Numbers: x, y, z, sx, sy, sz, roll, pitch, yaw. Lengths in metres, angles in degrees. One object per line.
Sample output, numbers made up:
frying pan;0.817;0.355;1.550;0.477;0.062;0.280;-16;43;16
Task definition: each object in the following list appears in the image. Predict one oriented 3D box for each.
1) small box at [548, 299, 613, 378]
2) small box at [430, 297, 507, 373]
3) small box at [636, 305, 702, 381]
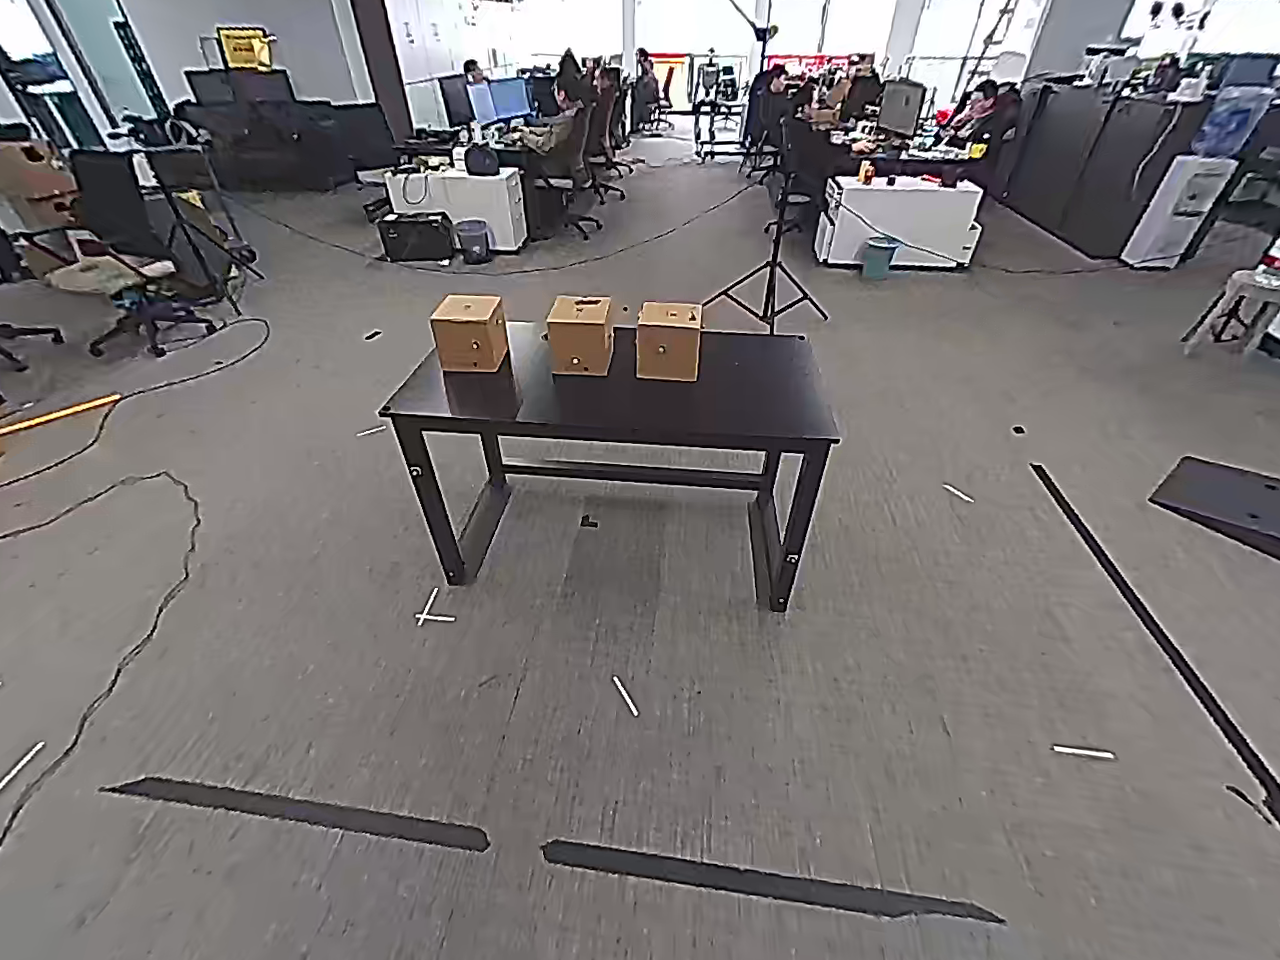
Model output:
small box;-0.171;-0.424;1.609;0.168;0.176;0.179;3;40;3
small box;-0.504;-0.434;1.621;0.168;0.176;0.179;2;39;0
small box;0.087;-0.401;1.585;0.179;0.176;0.168;4;40;6
